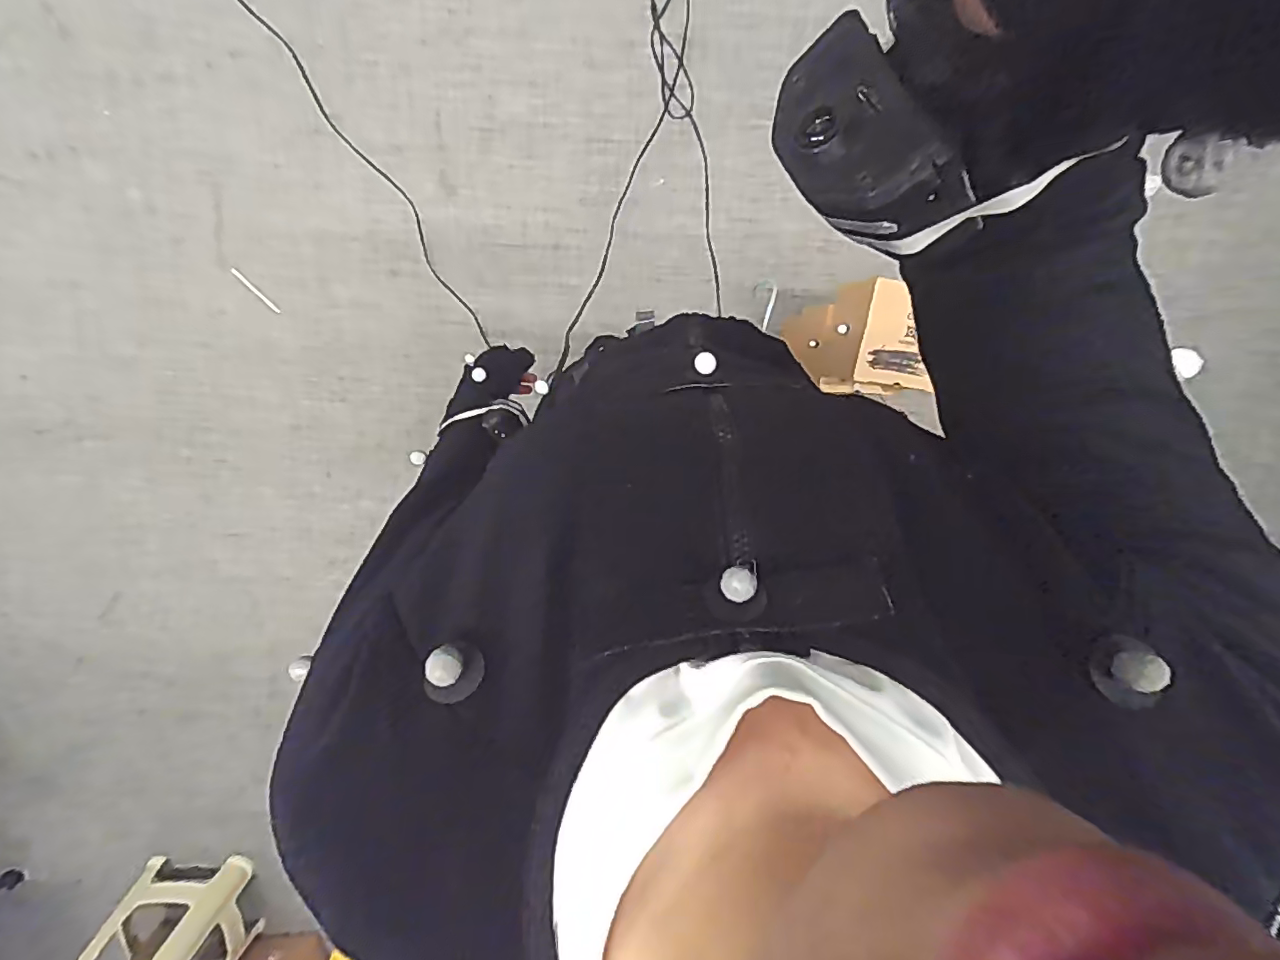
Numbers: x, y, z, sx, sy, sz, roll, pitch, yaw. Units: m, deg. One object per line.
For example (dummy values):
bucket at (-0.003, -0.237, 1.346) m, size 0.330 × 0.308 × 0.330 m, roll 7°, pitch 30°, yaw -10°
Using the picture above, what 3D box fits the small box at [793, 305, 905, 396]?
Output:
small box at (0.445, -0.283, 1.180) m, size 0.168 × 0.176 × 0.179 m, roll 2°, pitch 106°, yaw -2°

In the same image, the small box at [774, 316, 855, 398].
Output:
small box at (0.443, -0.309, 1.344) m, size 0.168 × 0.176 × 0.179 m, roll 5°, pitch 106°, yaw -4°
